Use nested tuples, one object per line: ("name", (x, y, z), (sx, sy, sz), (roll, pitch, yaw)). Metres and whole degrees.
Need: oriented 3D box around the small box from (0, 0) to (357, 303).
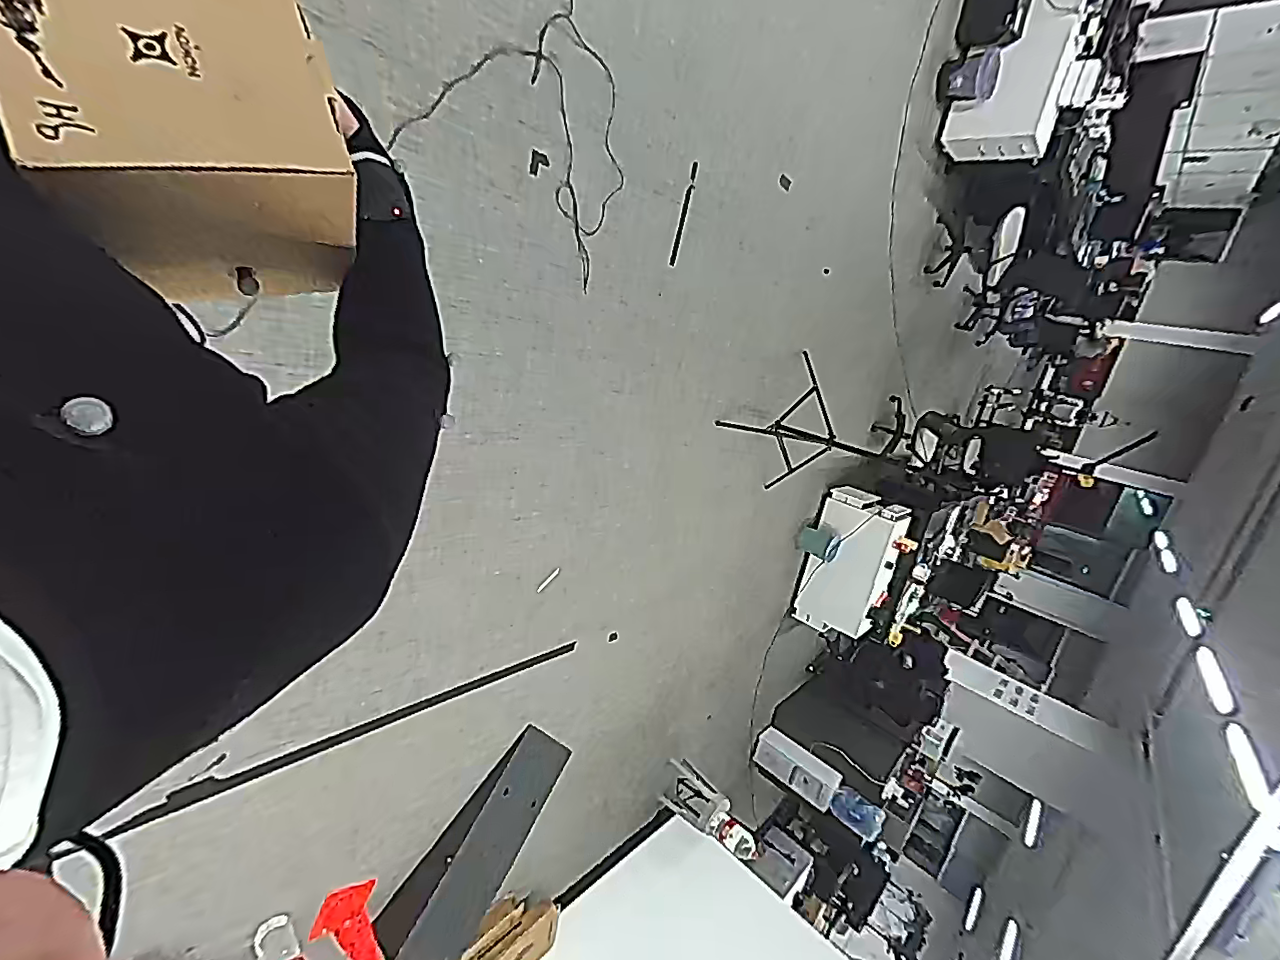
("small box", (-0.345, -0.260, 0.431), (0.179, 0.176, 0.168), (-18, 87, -30))
